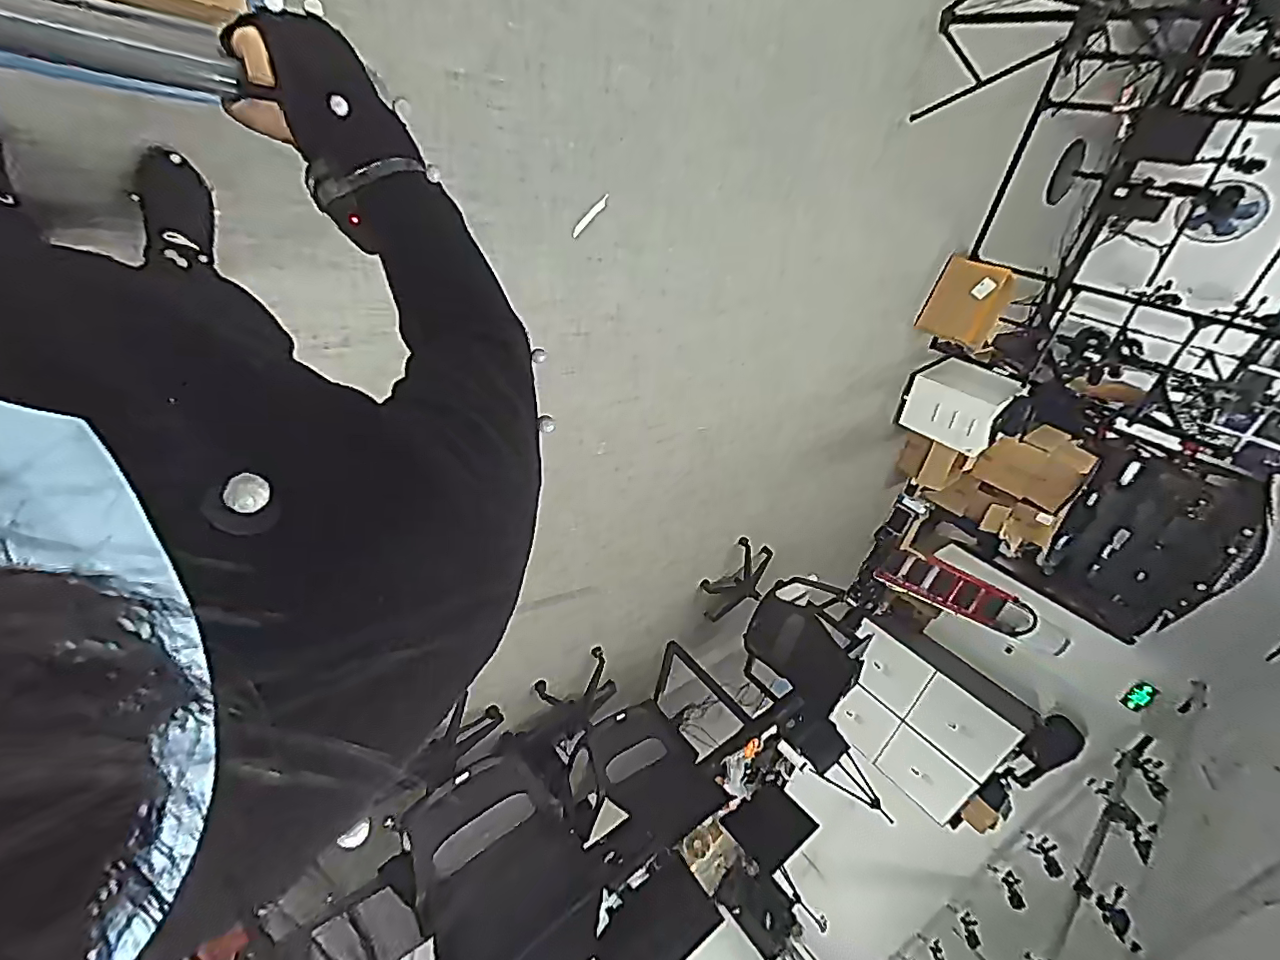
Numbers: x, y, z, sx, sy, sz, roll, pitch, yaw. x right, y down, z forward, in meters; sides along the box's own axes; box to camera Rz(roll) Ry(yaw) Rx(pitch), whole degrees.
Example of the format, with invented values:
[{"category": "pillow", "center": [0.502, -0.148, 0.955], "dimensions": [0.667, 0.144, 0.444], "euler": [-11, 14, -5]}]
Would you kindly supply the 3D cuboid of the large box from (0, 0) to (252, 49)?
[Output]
[{"category": "large box", "center": [-0.701, -0.694, 0.562], "dimensions": [0.408, 0.320, 0.320], "euler": [-16, 130, -40]}]
